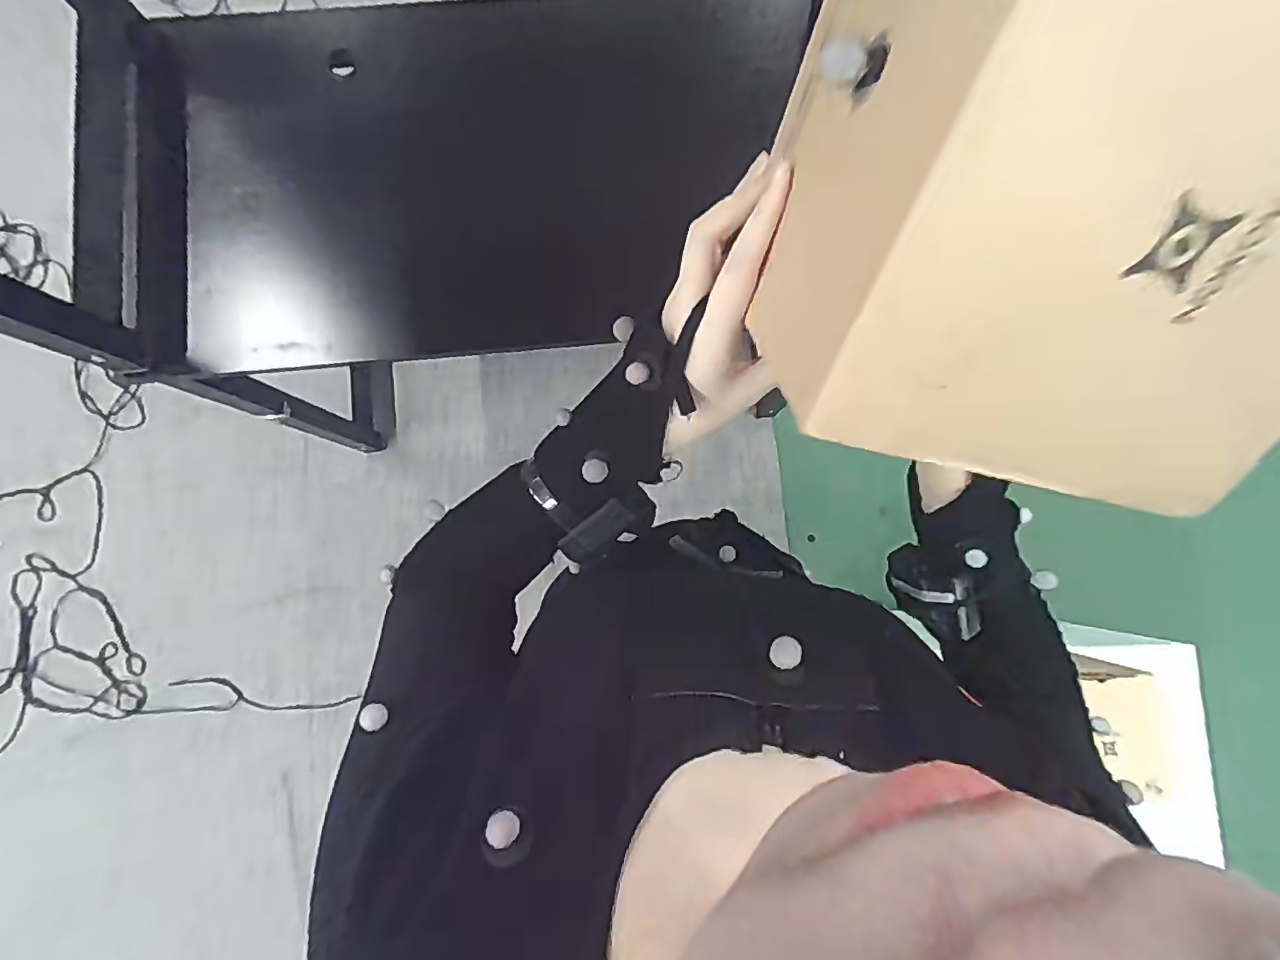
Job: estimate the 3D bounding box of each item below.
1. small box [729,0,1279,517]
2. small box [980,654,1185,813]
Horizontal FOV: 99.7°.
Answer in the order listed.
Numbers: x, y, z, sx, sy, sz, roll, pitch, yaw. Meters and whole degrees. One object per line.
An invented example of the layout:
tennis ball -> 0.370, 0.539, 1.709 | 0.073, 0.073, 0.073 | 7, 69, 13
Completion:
small box -> 0.150, -0.112, 0.216 | 0.179, 0.176, 0.168 | 11, 125, -11
small box -> 0.642, 0.363, 0.809 | 0.168, 0.176, 0.179 | -2, 84, -1
